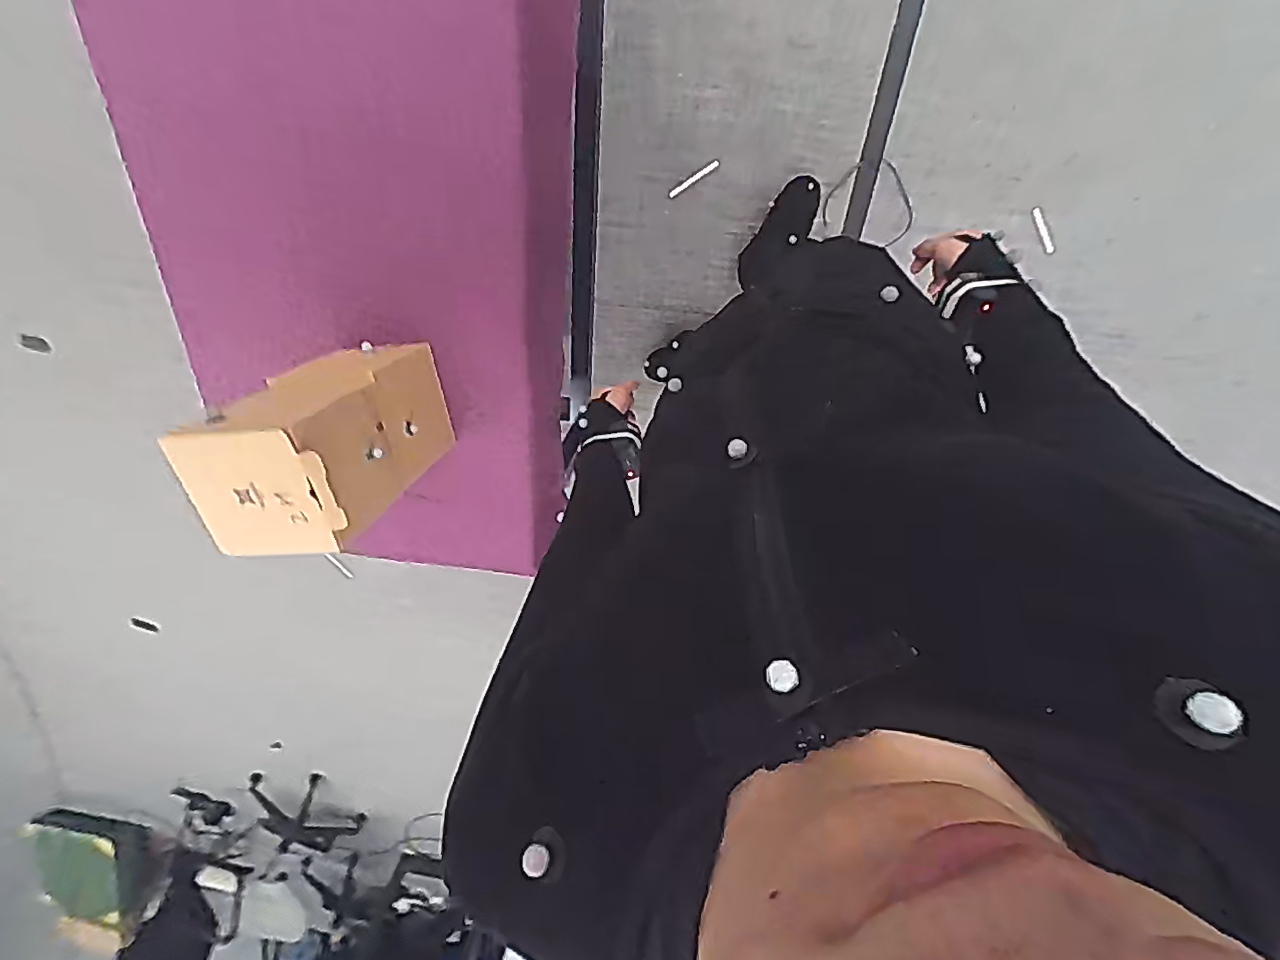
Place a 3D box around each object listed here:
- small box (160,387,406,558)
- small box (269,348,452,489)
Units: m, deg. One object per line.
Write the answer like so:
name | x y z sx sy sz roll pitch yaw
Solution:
small box | -0.446 -0.014 0.709 0.179 0.176 0.168 -3 118 9
small box | -0.420 -0.098 0.849 0.168 0.176 0.179 -2 116 9
